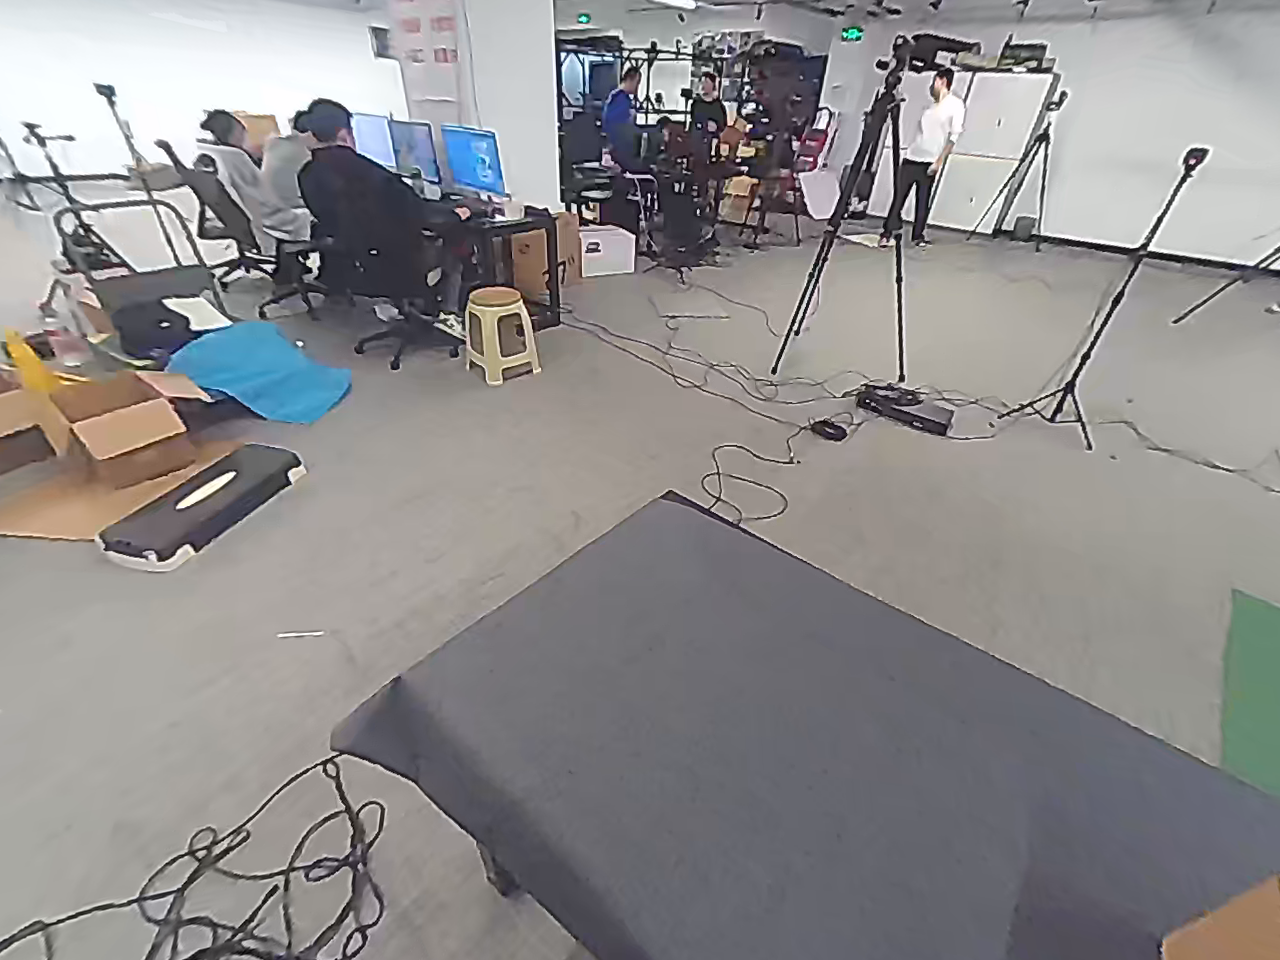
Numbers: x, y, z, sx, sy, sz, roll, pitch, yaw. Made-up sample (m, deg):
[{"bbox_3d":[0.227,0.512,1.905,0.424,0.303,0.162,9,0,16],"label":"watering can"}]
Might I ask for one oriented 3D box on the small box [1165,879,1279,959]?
[{"bbox_3d":[0.535,0.463,0.398,0.168,0.176,0.179,27,41,29],"label":"small box"}]
